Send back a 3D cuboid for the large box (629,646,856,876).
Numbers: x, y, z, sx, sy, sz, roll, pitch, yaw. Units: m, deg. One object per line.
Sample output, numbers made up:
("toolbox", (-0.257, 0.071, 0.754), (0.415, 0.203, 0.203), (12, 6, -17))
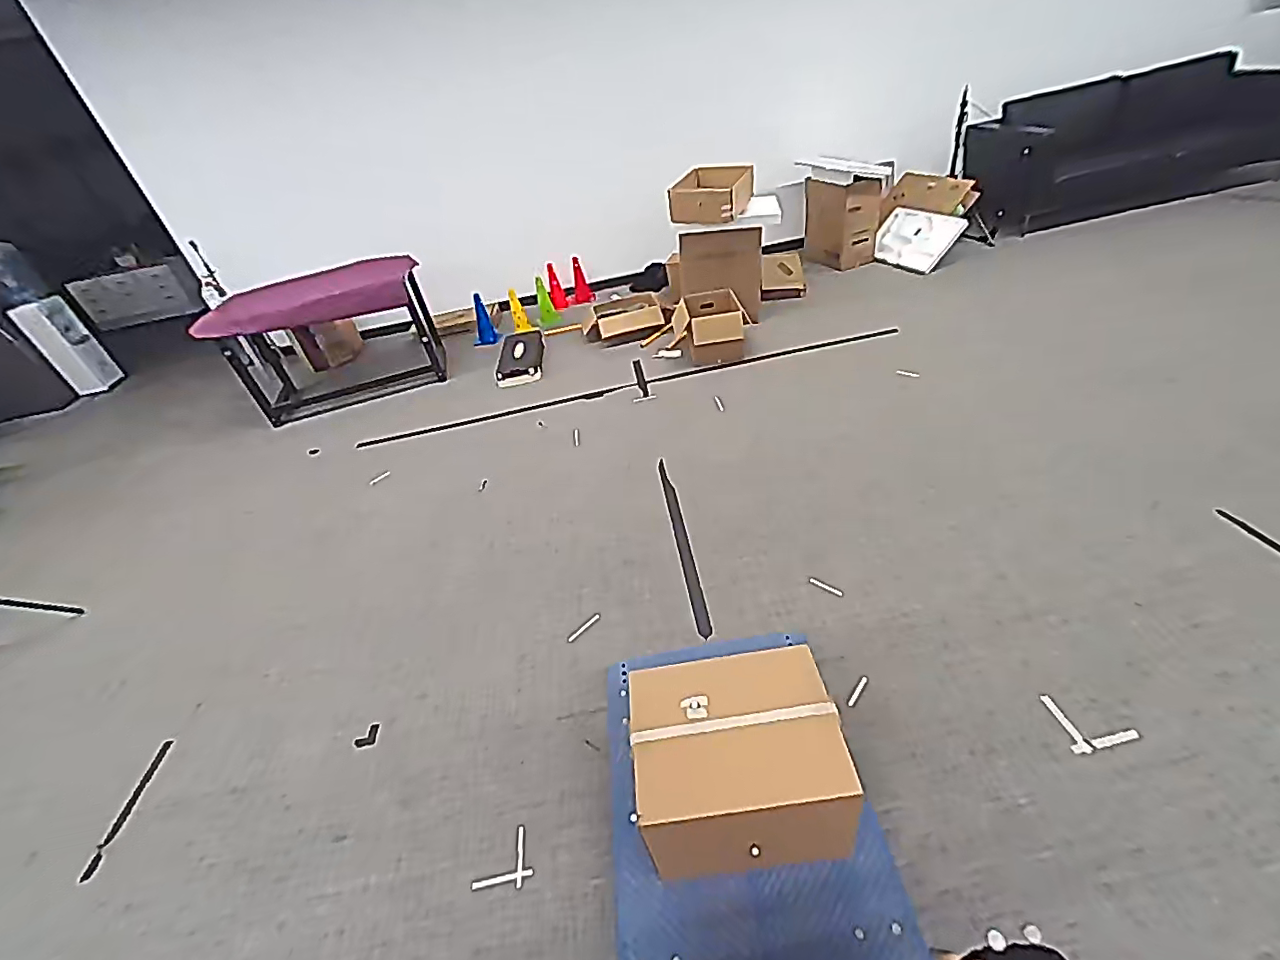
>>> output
("large box", (0.210, 0.613, 1.183), (0.408, 0.320, 0.320), (-11, 36, 3))
